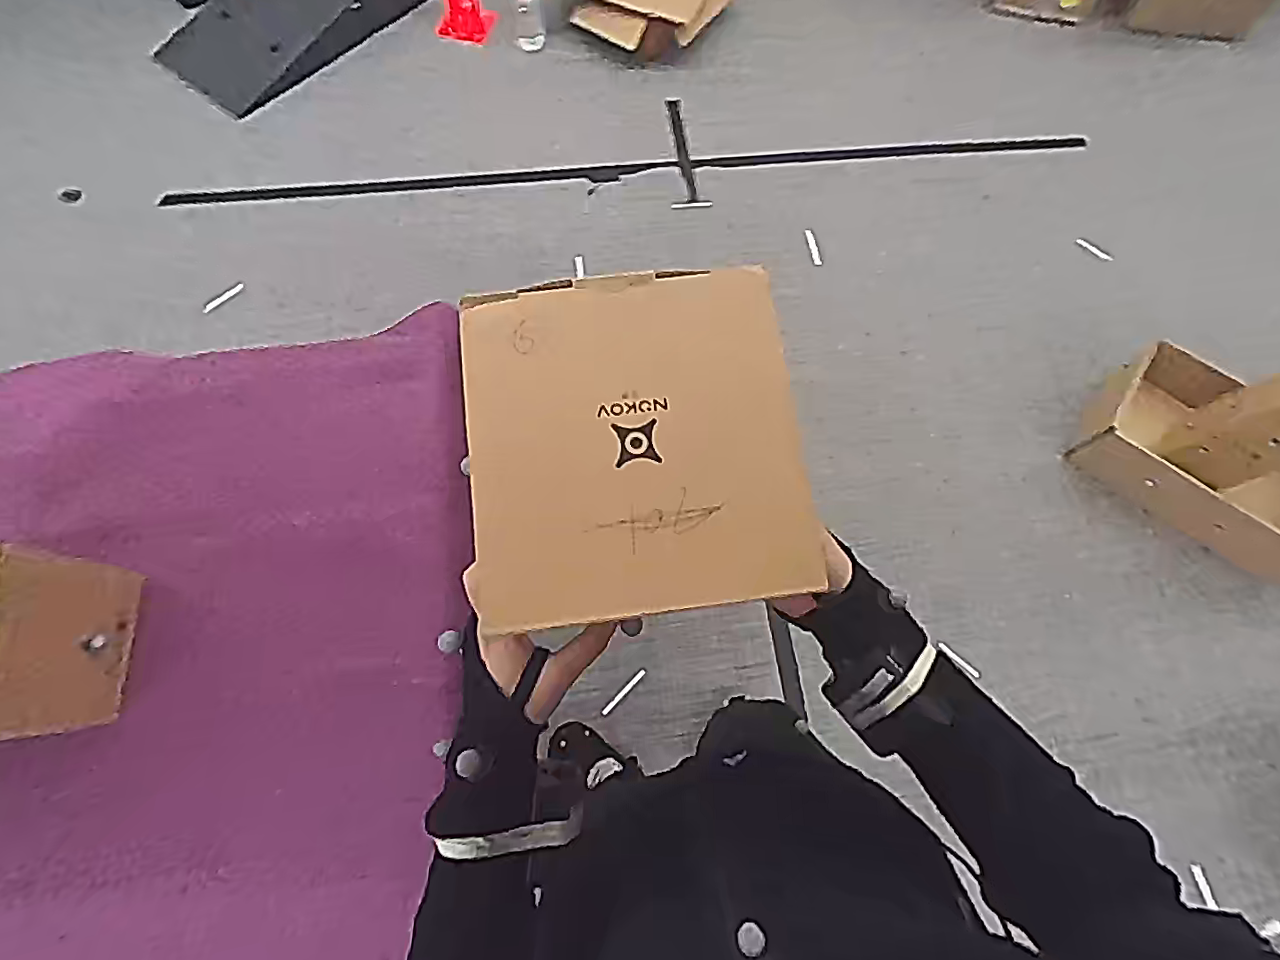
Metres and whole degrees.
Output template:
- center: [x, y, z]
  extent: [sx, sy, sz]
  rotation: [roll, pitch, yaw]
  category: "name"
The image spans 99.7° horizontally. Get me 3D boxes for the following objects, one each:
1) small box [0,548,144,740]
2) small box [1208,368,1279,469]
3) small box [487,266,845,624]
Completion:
- center: [-0.670, 0.175, 0.543]
  extent: [0.179, 0.176, 0.168]
  rotation: [-6, 70, -7]
  category: "small box"
- center: [1.609, -0.157, 1.360]
  extent: [0.168, 0.176, 0.179]
  rotation: [41, 72, 11]
  category: "small box"
- center: [0.006, -0.008, 0.351]
  extent: [0.168, 0.176, 0.179]
  rotation: [-7, 79, -2]
  category: "small box"
